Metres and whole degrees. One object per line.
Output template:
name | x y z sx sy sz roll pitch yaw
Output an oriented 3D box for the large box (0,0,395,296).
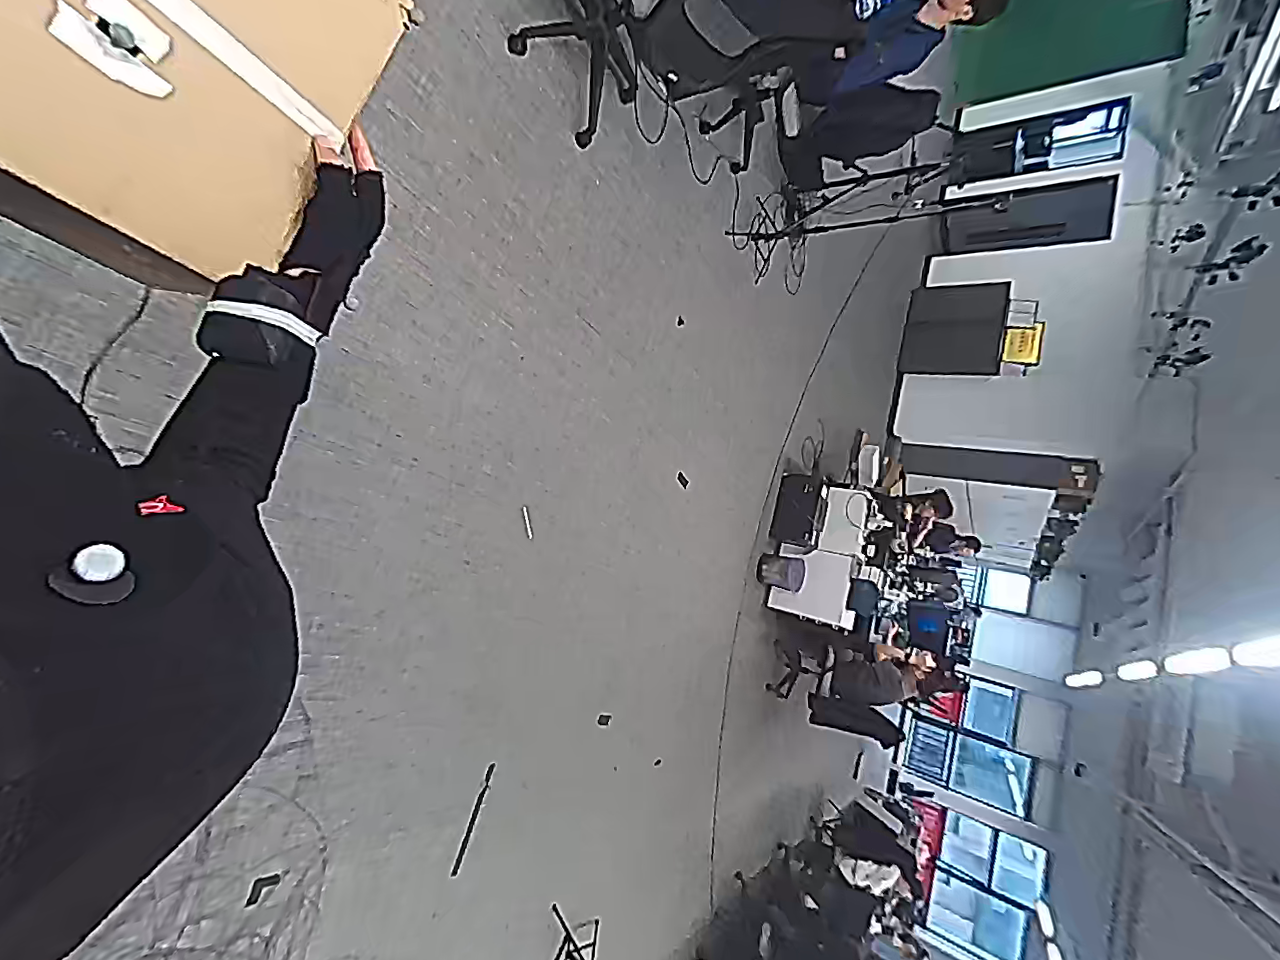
large box | -0.494 -0.388 0.402 0.408 0.320 0.320 32 78 -56
